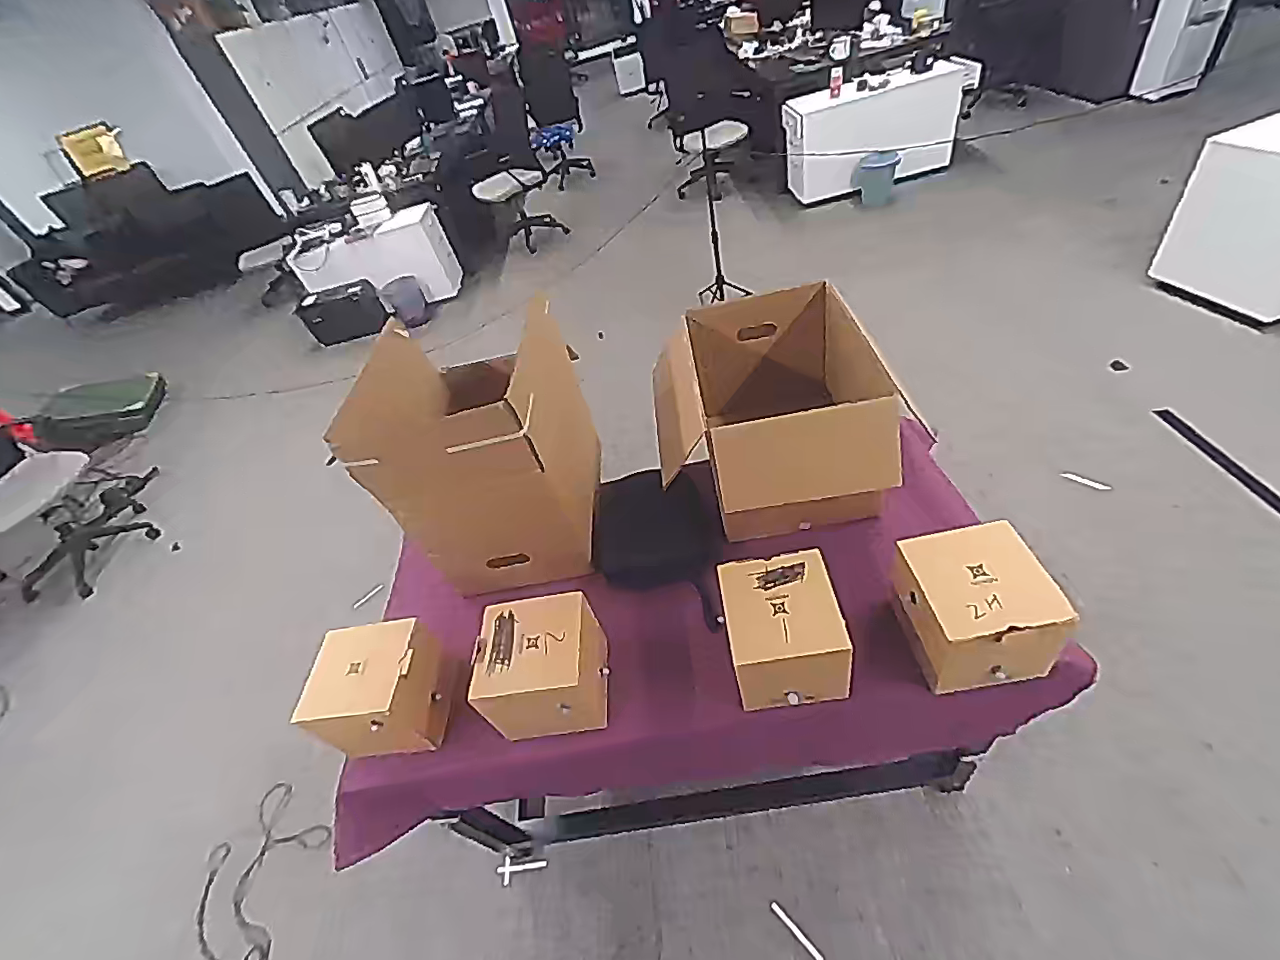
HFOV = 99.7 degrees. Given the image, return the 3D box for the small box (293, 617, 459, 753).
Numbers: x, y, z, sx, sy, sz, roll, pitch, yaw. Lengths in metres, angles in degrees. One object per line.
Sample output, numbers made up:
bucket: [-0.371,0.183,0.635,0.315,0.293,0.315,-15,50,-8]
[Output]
small box: [-0.451,0.366,0.956,0.179,0.176,0.168,-9,44,7]

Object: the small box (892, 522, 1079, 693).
small box: [0.497,0.194,0.815,0.168,0.176,0.179,-13,44,8]
